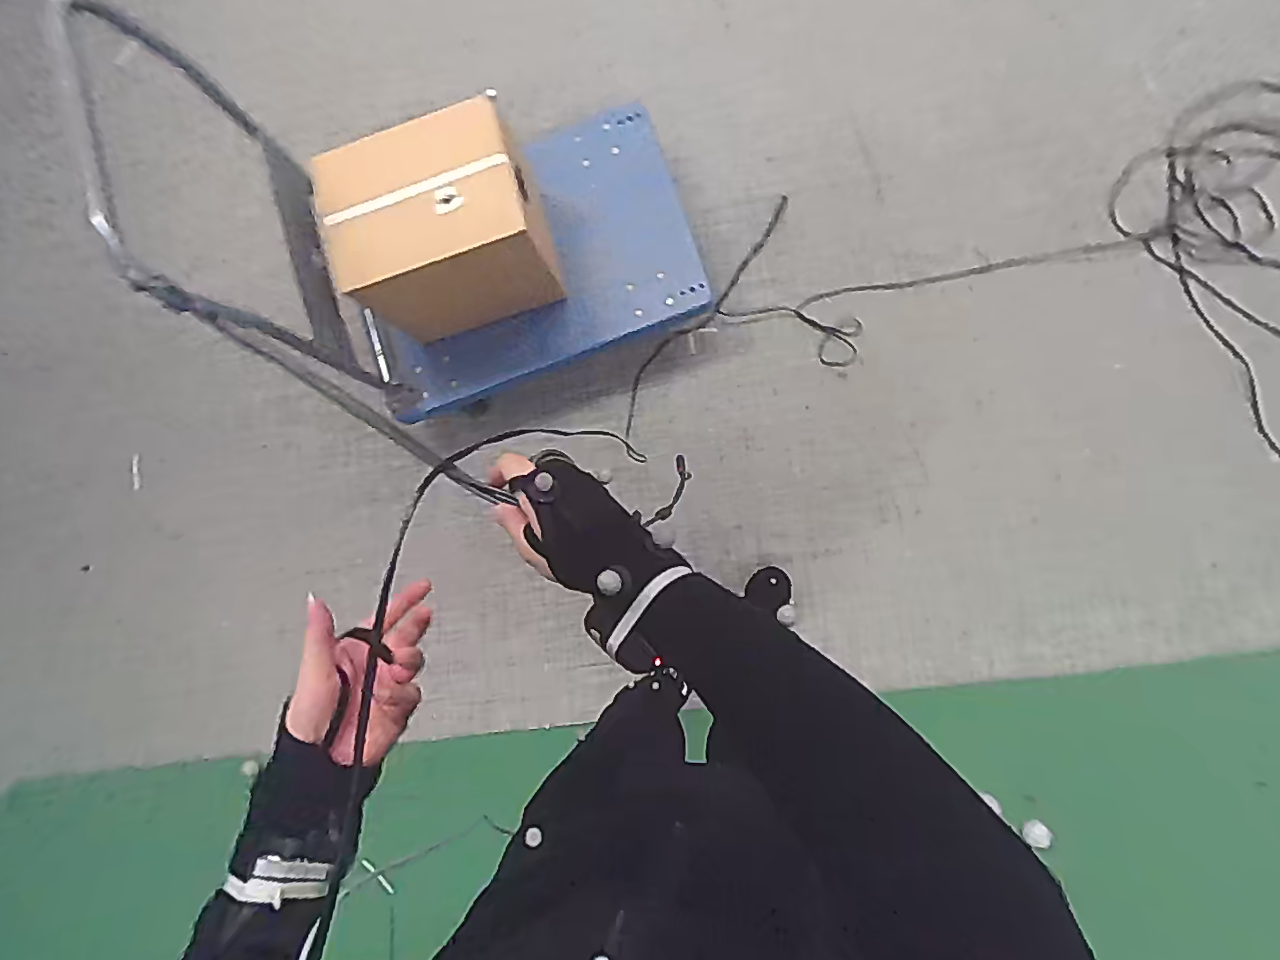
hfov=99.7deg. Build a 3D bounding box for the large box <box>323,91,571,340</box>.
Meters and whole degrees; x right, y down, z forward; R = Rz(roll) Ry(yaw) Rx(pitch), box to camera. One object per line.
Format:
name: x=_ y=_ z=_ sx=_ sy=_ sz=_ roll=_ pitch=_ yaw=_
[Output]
large box: x=-0.410 y=-0.562 z=1.221 sx=0.408 sy=0.320 sz=0.320 roll=-15 pitch=83 yaw=5
